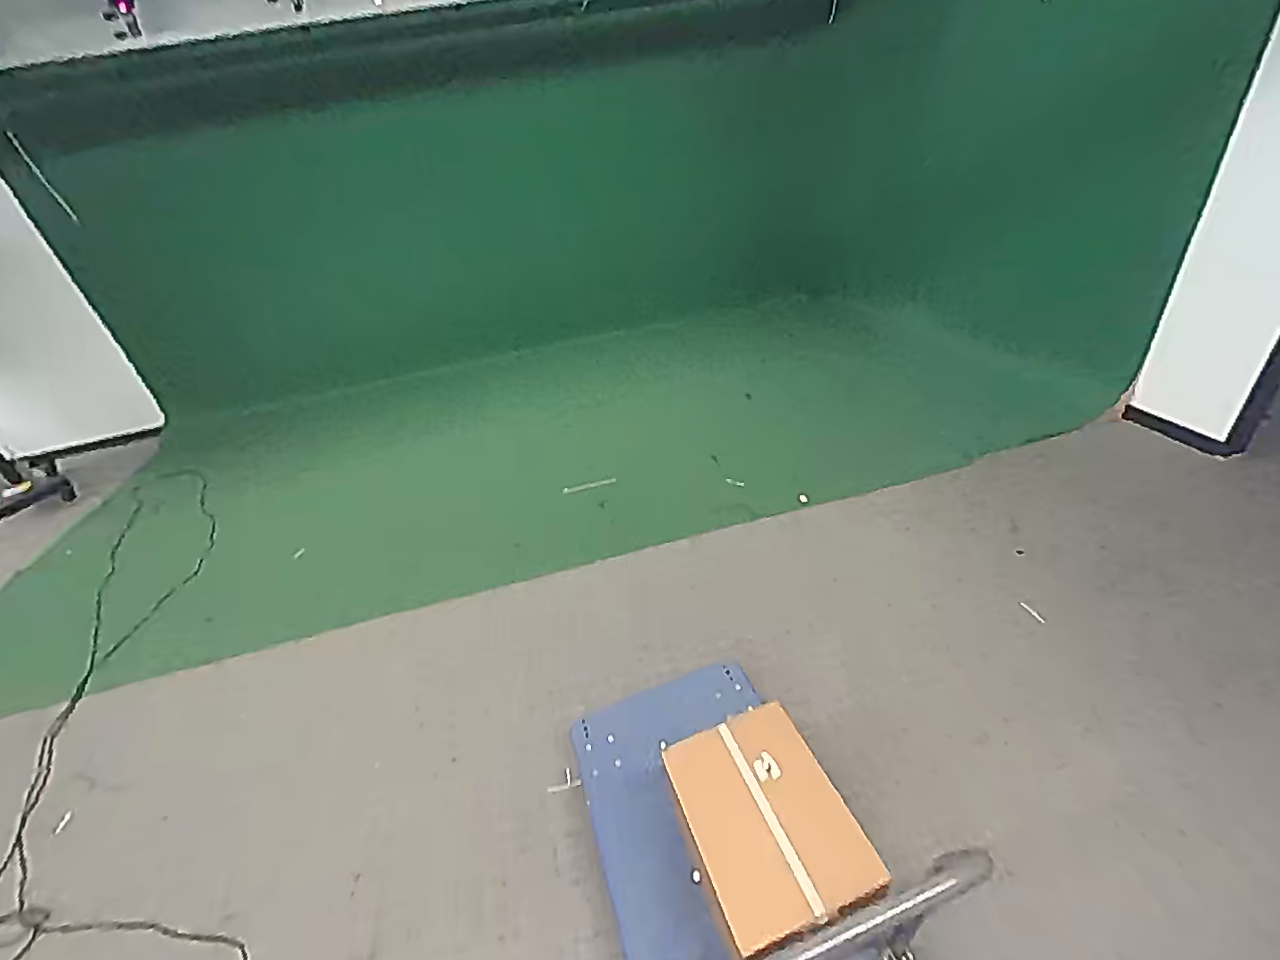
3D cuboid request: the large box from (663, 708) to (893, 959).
[{"bbox_3d":[0.283,0.811,1.194,0.320,0.320,0.408,-17,33,-12],"label":"large box"}]
